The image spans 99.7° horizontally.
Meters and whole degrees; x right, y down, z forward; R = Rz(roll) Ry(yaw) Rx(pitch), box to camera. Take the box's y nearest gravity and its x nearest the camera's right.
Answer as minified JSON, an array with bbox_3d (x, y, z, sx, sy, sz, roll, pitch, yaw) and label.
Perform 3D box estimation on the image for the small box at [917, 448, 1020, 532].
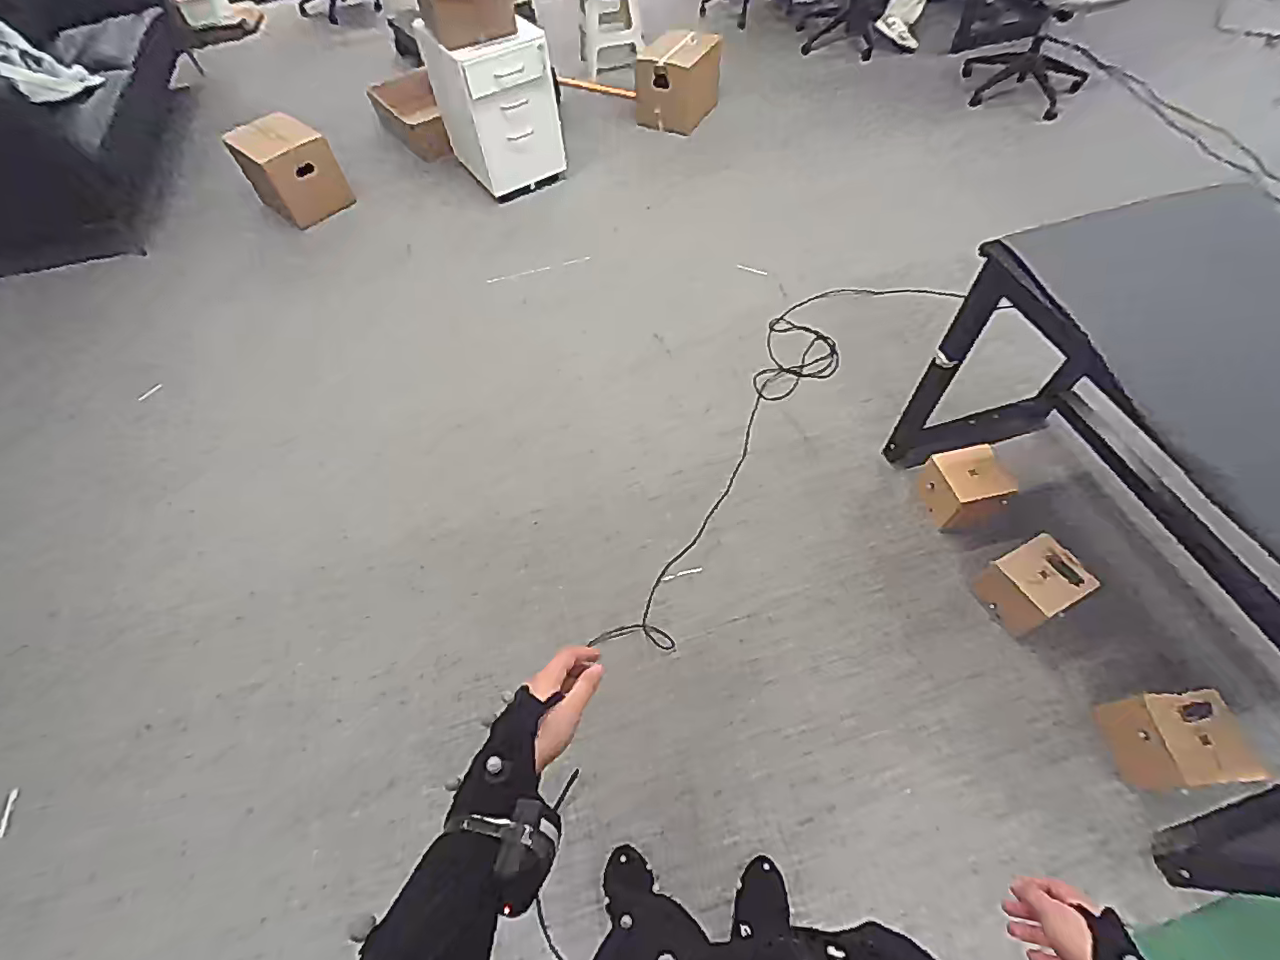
[{"bbox_3d":[0.932,0.033,1.561,0.179,0.176,0.168,-11,57,-4],"label":"small box"}]

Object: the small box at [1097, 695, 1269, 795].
[{"bbox_3d":[1.167,0.583,1.184,0.168,0.176,0.179,-4,58,1],"label":"small box"}]
